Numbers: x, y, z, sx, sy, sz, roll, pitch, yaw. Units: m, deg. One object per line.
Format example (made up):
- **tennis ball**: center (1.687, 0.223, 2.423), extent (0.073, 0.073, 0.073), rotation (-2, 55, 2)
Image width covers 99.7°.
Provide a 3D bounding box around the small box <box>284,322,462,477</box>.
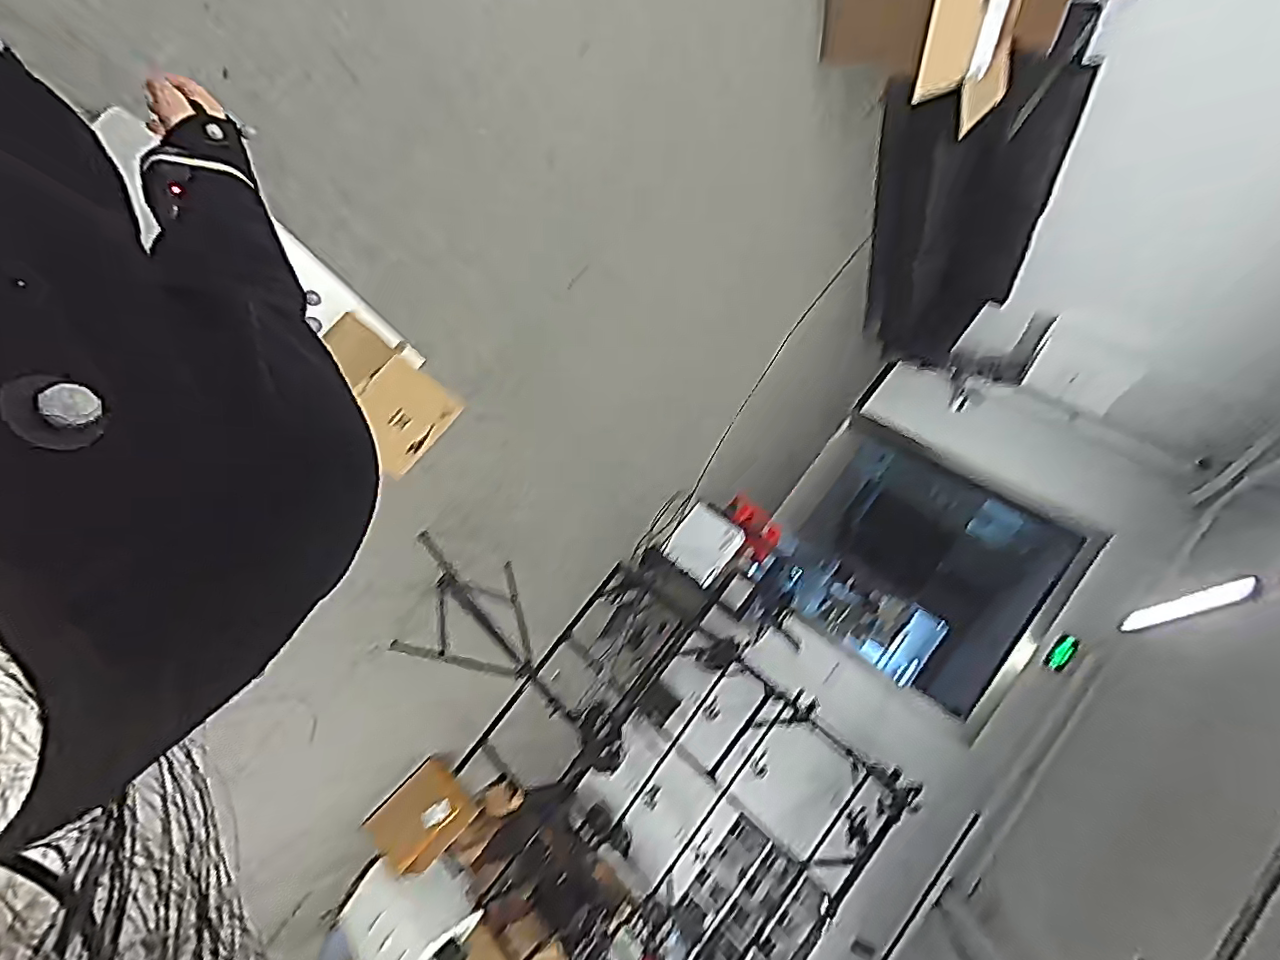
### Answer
- **small box**: center (-0.447, -0.141, 0.909), extent (0.168, 0.176, 0.179), rotation (-49, 150, -8)
